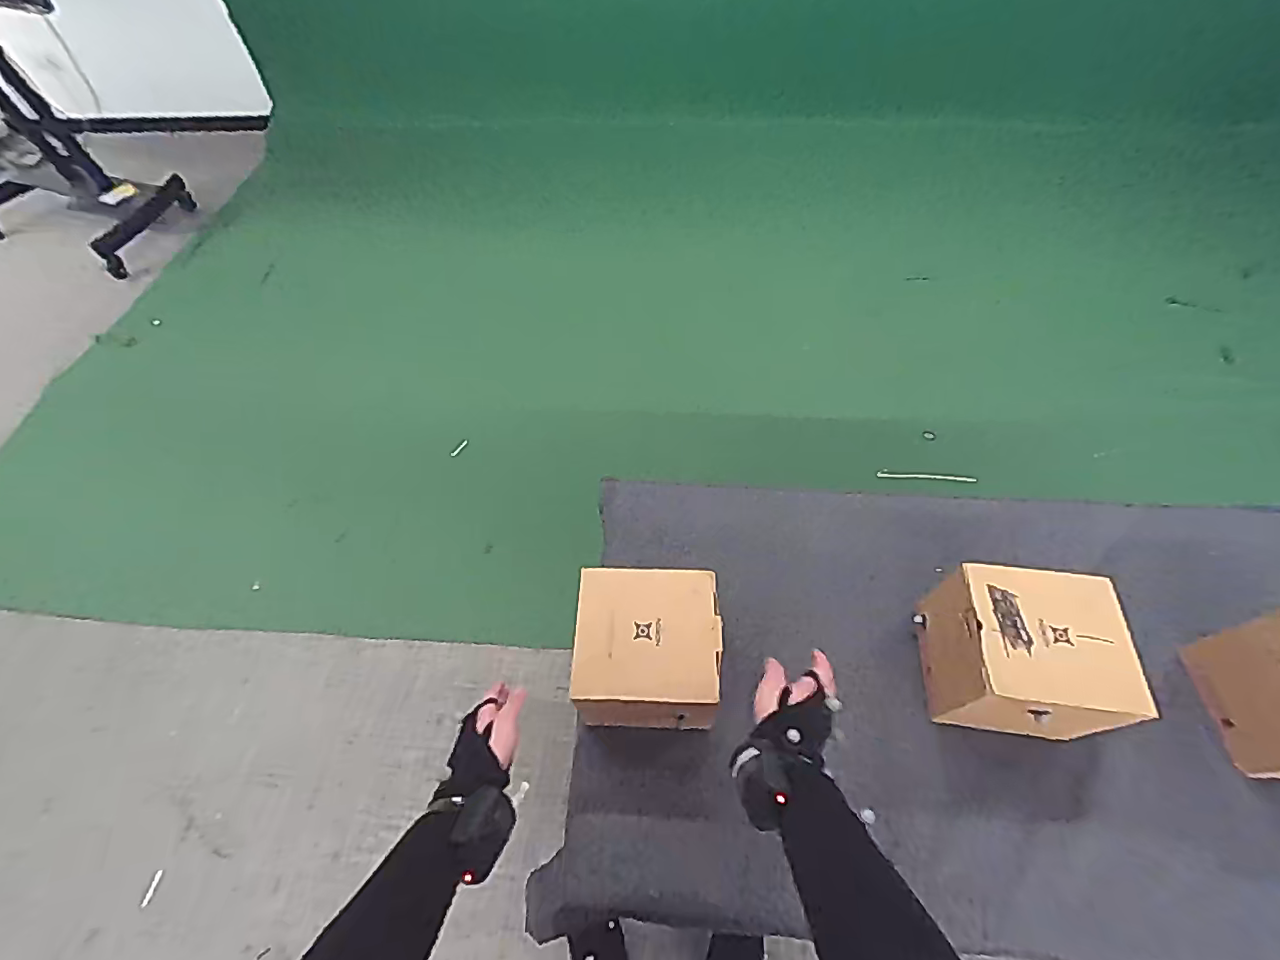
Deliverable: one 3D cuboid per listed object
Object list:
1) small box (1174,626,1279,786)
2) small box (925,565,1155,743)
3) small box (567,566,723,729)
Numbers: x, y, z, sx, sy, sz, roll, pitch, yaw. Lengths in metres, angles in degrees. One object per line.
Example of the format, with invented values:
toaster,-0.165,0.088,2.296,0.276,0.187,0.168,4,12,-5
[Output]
small box,0.848,0.283,0.670,0.179,0.176,0.168,-2,58,2
small box,0.487,0.229,0.698,0.179,0.176,0.168,8,59,8
small box,0.011,0.223,0.709,0.179,0.176,0.168,0,56,3
